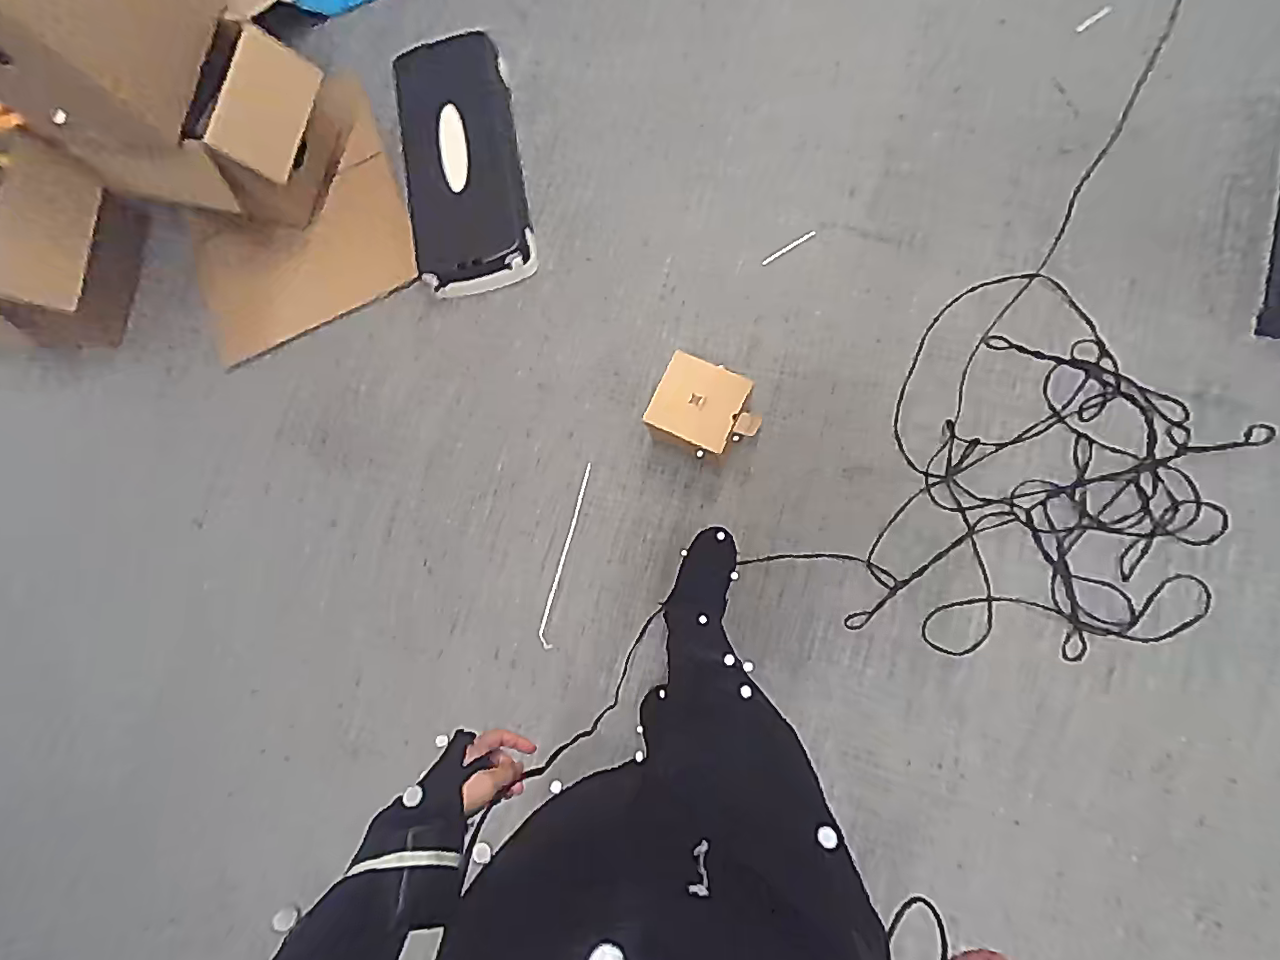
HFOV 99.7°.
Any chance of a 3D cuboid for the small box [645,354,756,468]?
[{"bbox_3d":[0.131,-0.139,1.164,0.179,0.176,0.168,25,85,10],"label":"small box"}]
